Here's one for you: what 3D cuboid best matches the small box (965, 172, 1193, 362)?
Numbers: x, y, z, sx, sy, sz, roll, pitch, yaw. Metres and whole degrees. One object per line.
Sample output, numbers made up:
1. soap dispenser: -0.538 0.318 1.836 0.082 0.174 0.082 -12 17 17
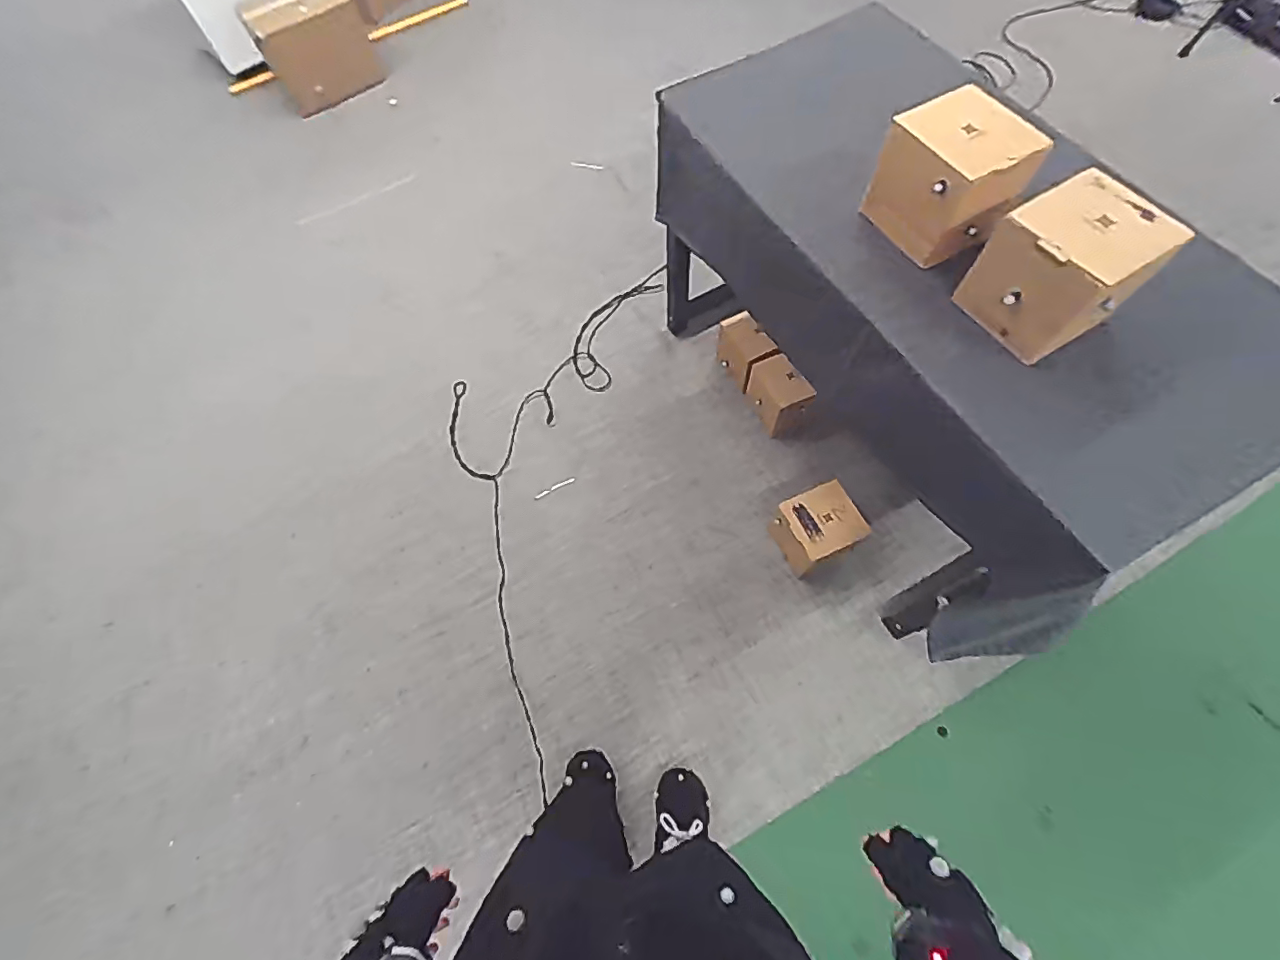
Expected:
1. small box: 0.629 -0.309 0.808 0.179 0.176 0.168 -29 67 -10
